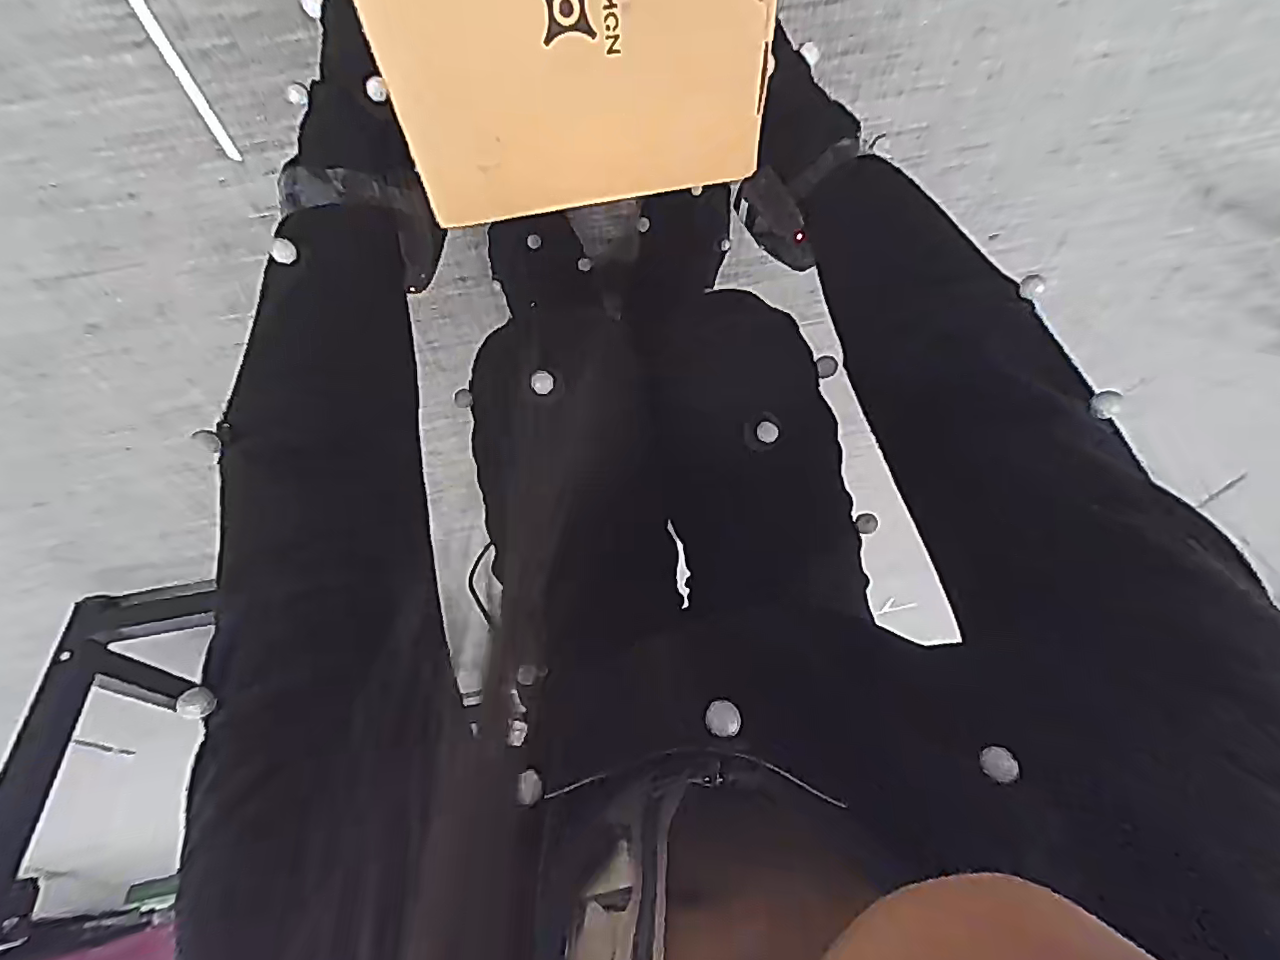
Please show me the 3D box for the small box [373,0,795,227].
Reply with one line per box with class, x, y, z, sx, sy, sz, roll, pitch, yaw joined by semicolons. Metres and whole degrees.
small box;-0.034;-0.258;0.268;0.179;0.176;0.168;-12;146;-4
